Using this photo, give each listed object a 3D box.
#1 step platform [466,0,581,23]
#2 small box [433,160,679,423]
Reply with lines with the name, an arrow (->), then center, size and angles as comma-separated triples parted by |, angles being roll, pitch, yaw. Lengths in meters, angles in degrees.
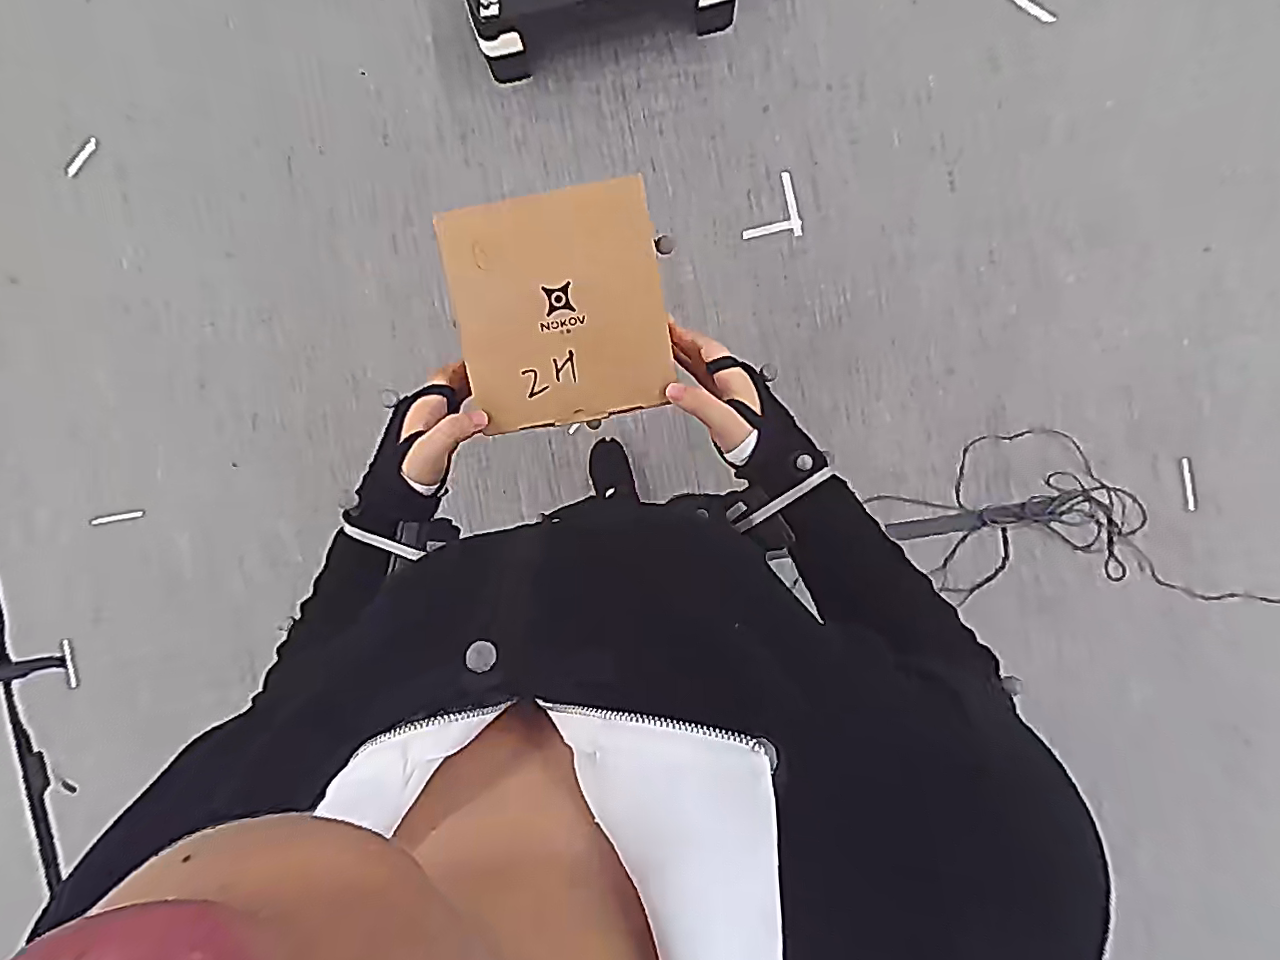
step platform -> -0.094, -1.242, 1.145 | 0.684, 0.204, 0.286 | -12, 90, 2
small box -> -0.063, -0.156, 0.496 | 0.168, 0.176, 0.179 | -10, 101, 2
